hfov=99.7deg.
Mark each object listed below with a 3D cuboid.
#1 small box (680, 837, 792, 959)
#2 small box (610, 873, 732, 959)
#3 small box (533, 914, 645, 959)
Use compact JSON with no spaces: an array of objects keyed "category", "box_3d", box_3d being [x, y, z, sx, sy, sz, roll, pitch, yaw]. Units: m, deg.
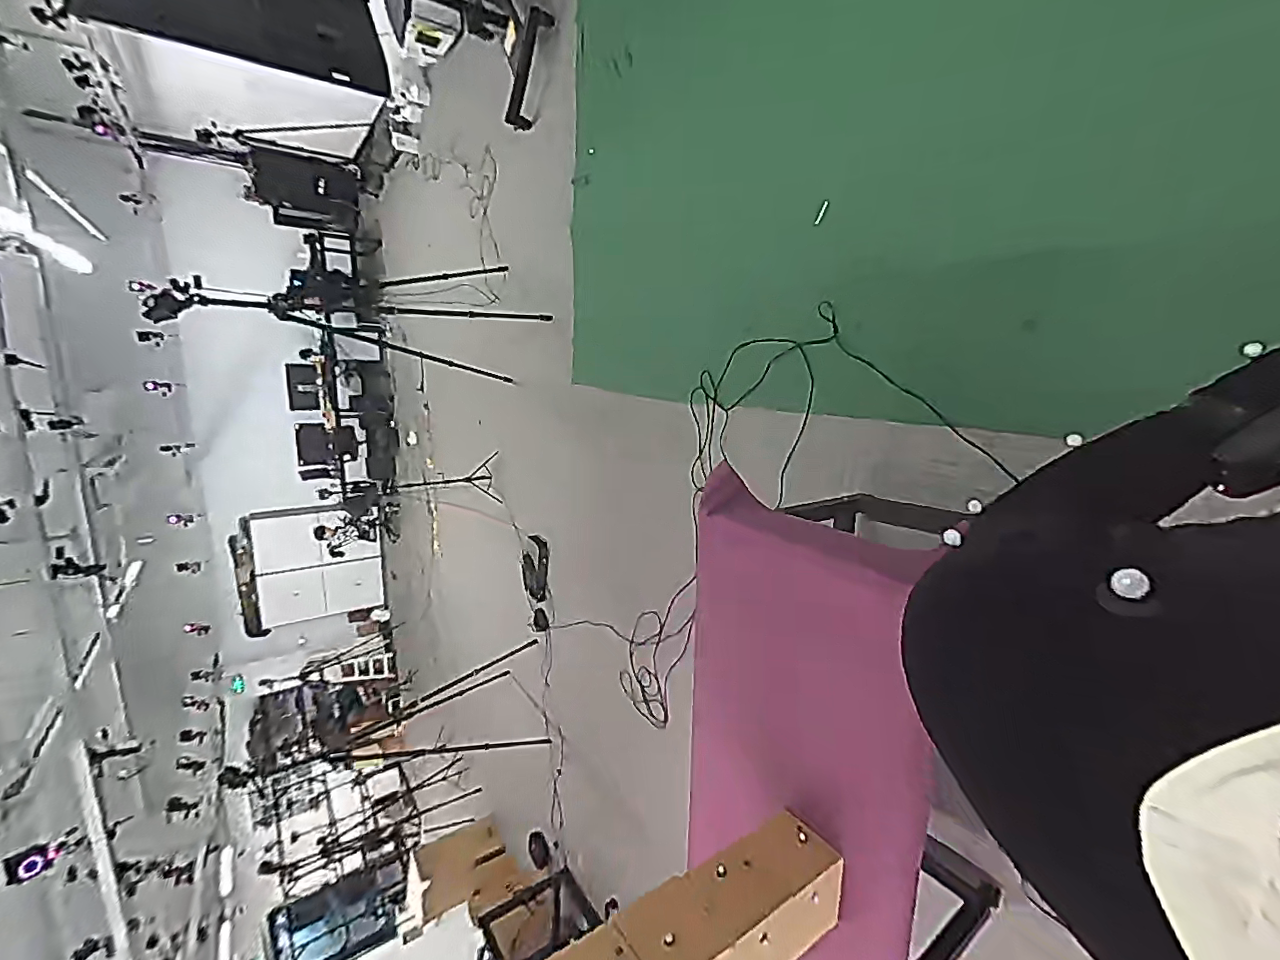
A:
[{"category":"small box","box_3d":[0.195,0.891,1.114,0.168,0.176,0.179,16,109,53]},{"category":"small box","box_3d":[0.058,0.905,1.026,0.179,0.176,0.168,14,106,53]},{"category":"small box","box_3d":[-0.075,0.919,0.930,0.168,0.176,0.179,14,106,54]}]
